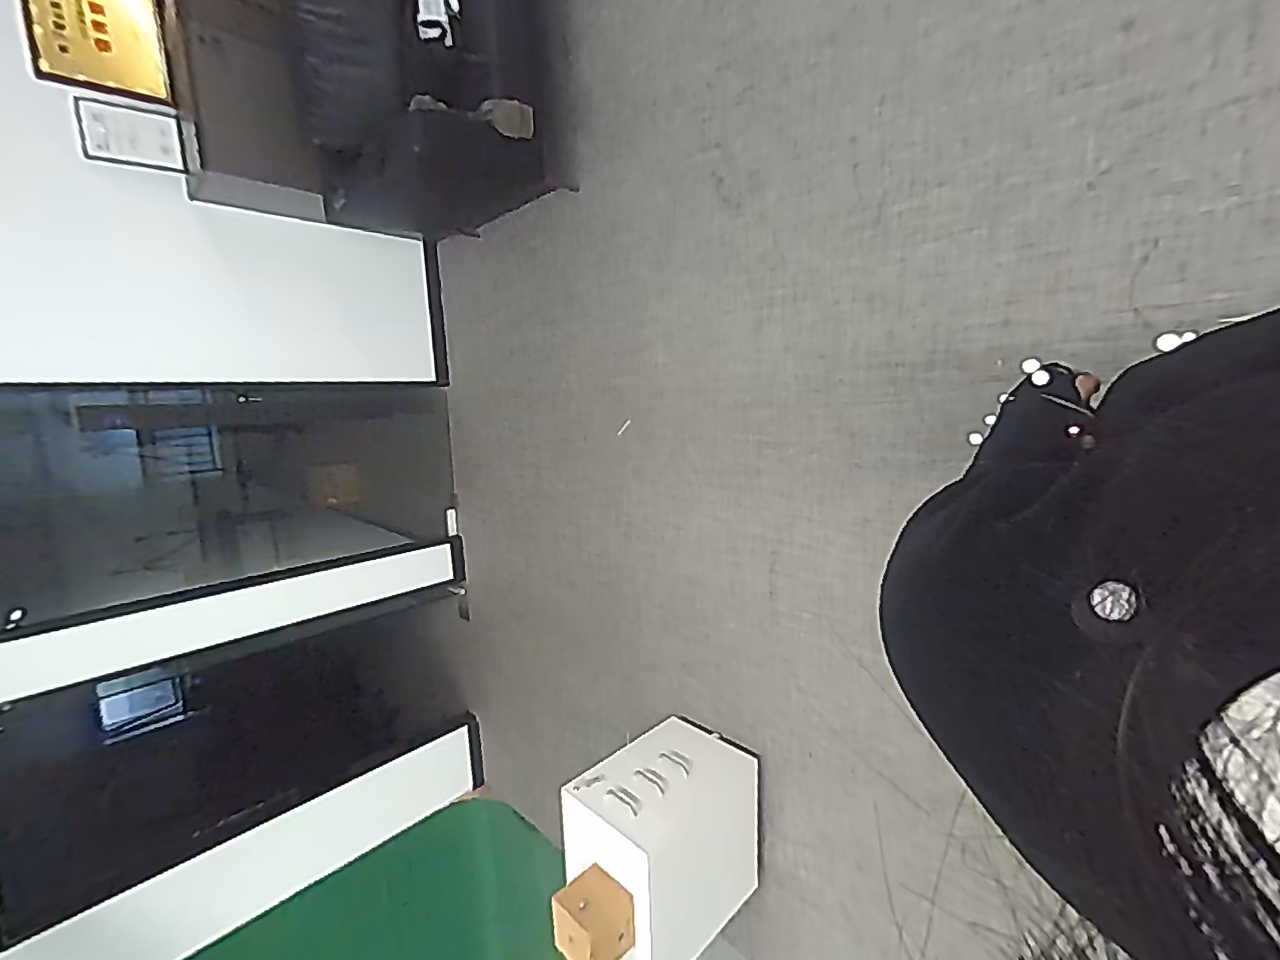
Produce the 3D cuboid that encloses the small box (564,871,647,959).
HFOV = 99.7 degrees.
[{"bbox_3d":[-0.098,1.284,1.561,0.179,0.176,0.168,4,100,45],"label":"small box"}]
